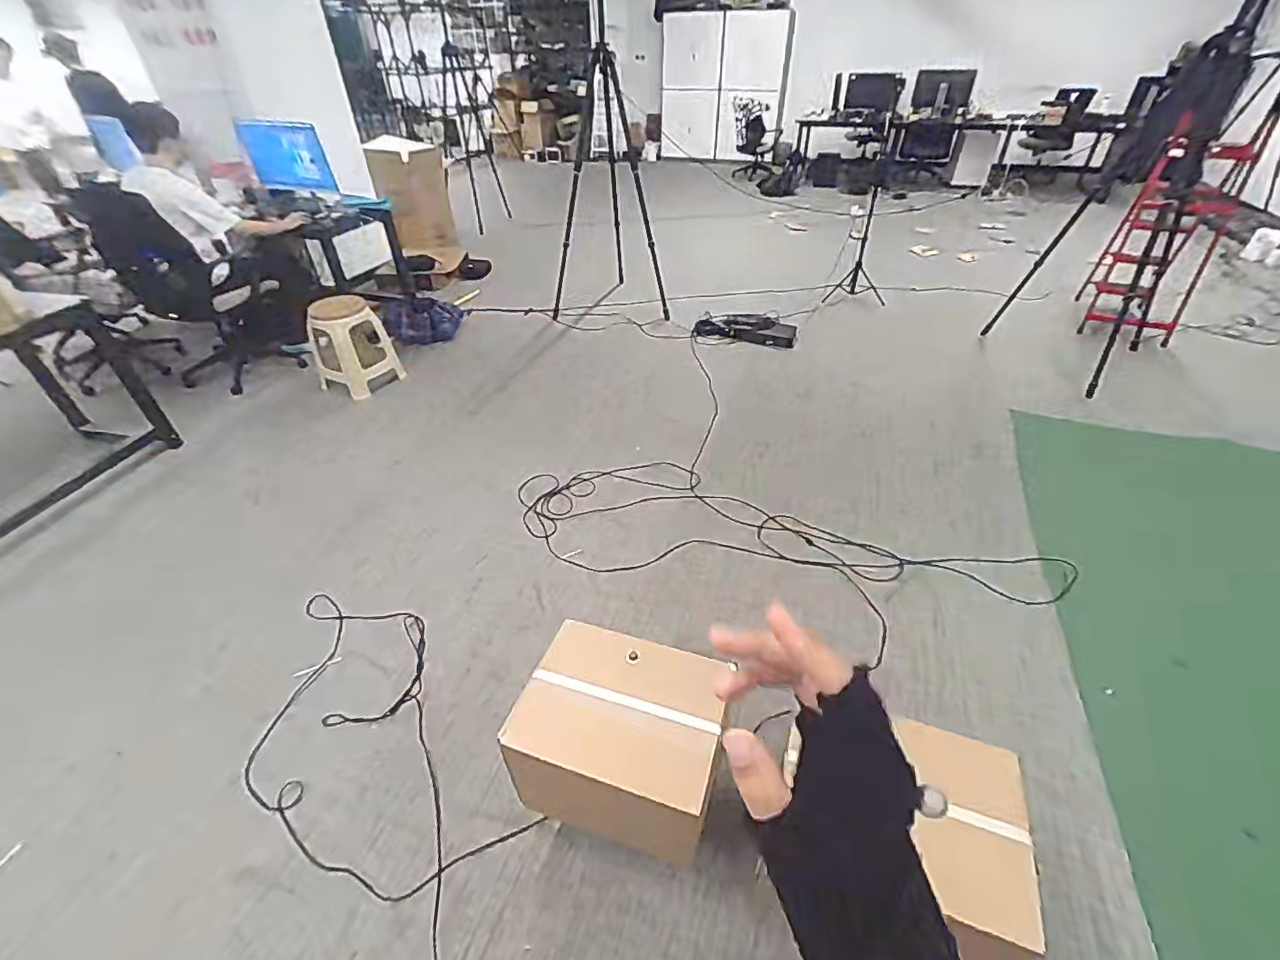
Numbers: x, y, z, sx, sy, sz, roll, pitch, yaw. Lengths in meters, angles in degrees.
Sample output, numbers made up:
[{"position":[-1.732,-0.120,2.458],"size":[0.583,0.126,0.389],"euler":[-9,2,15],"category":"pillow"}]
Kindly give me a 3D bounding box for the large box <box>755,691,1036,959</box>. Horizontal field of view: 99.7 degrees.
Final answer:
[{"position":[0.468,0.687,1.065],"size":[0.408,0.320,0.320],"euler":[13,41,18],"category":"large box"}]
